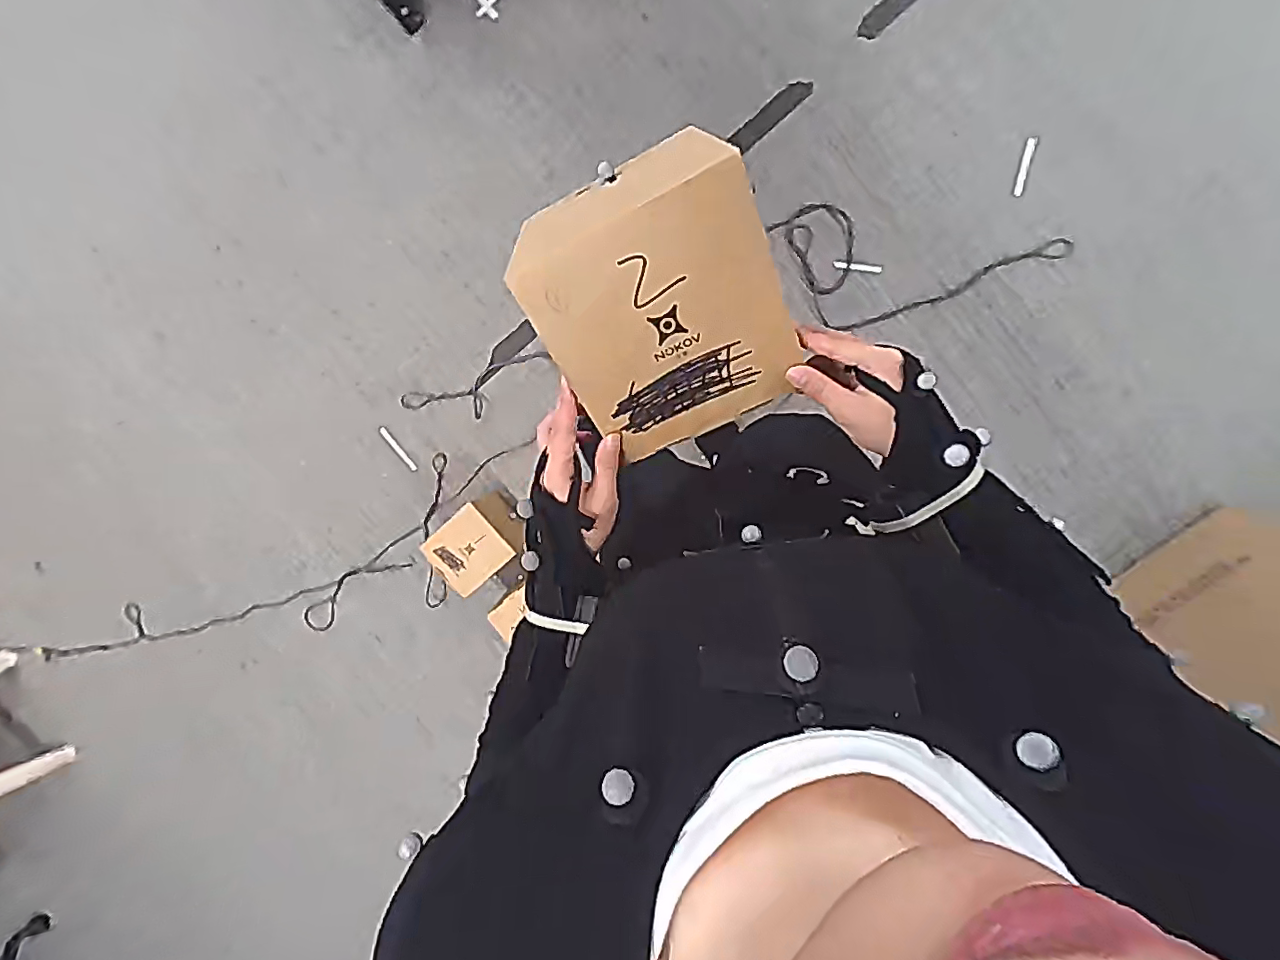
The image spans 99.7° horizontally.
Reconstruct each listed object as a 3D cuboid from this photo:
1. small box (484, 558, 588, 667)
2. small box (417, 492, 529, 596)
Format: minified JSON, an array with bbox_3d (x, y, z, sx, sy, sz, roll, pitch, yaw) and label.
[{"bbox_3d":[-0.252,0.325,1.361,0.168,0.176,0.179,-39,95,9],"label":"small box"},{"bbox_3d":[-0.405,0.152,1.344,0.179,0.176,0.168,-41,94,9],"label":"small box"}]
